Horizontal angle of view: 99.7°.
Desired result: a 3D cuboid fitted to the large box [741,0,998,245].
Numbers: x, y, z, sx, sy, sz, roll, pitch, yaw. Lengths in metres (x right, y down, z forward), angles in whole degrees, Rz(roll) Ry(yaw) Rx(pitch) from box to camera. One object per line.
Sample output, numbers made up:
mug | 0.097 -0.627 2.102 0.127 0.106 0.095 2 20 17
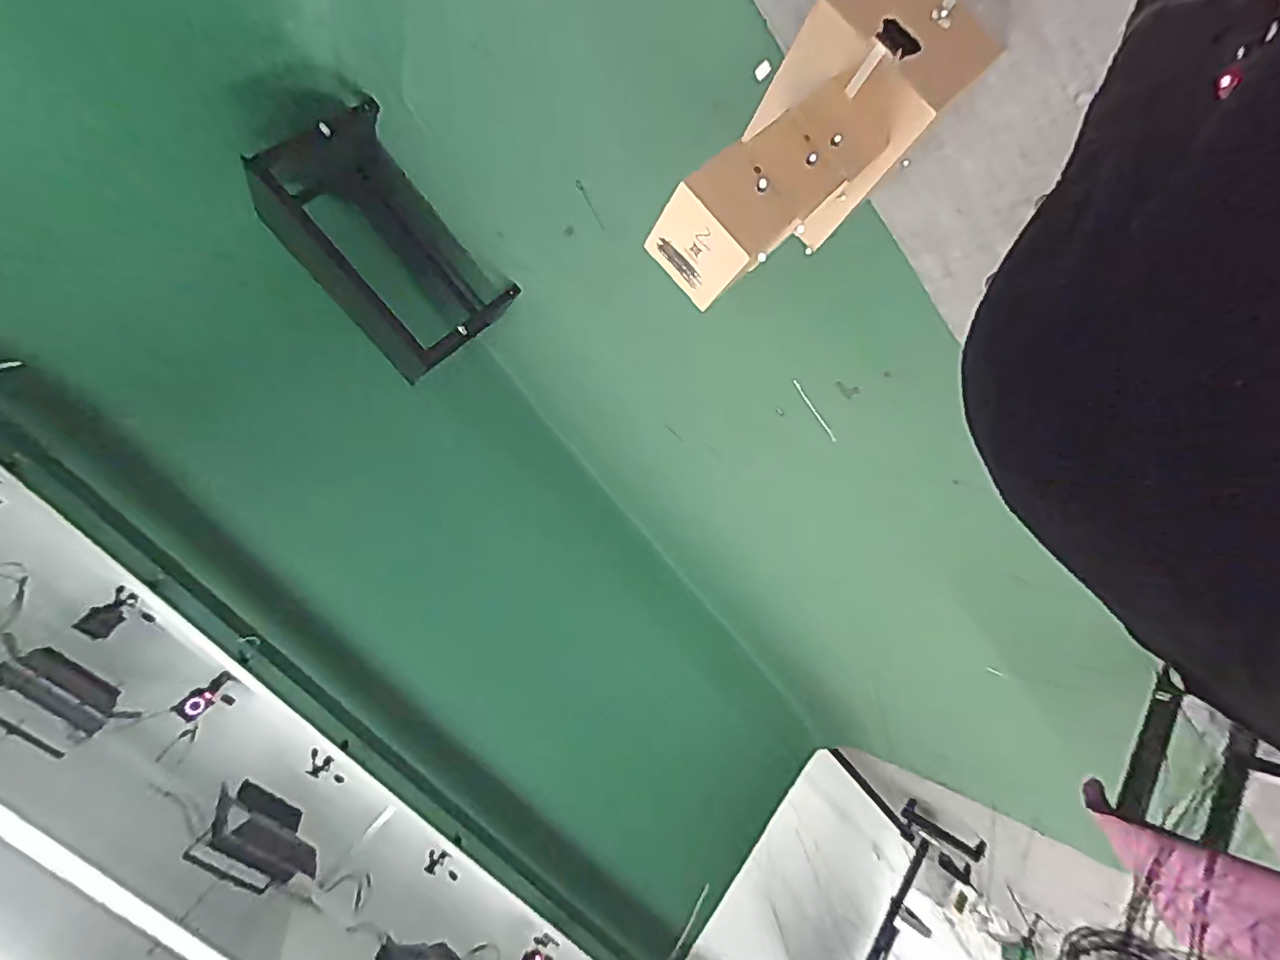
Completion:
large box | 0.477 -0.841 1.216 0.320 0.320 0.408 45 159 0

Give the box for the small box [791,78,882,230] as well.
small box | 0.350 -0.662 1.100 0.179 0.176 0.168 46 157 -6

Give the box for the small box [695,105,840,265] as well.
small box | 0.243 -0.559 1.034 0.168 0.176 0.179 46 157 -7
